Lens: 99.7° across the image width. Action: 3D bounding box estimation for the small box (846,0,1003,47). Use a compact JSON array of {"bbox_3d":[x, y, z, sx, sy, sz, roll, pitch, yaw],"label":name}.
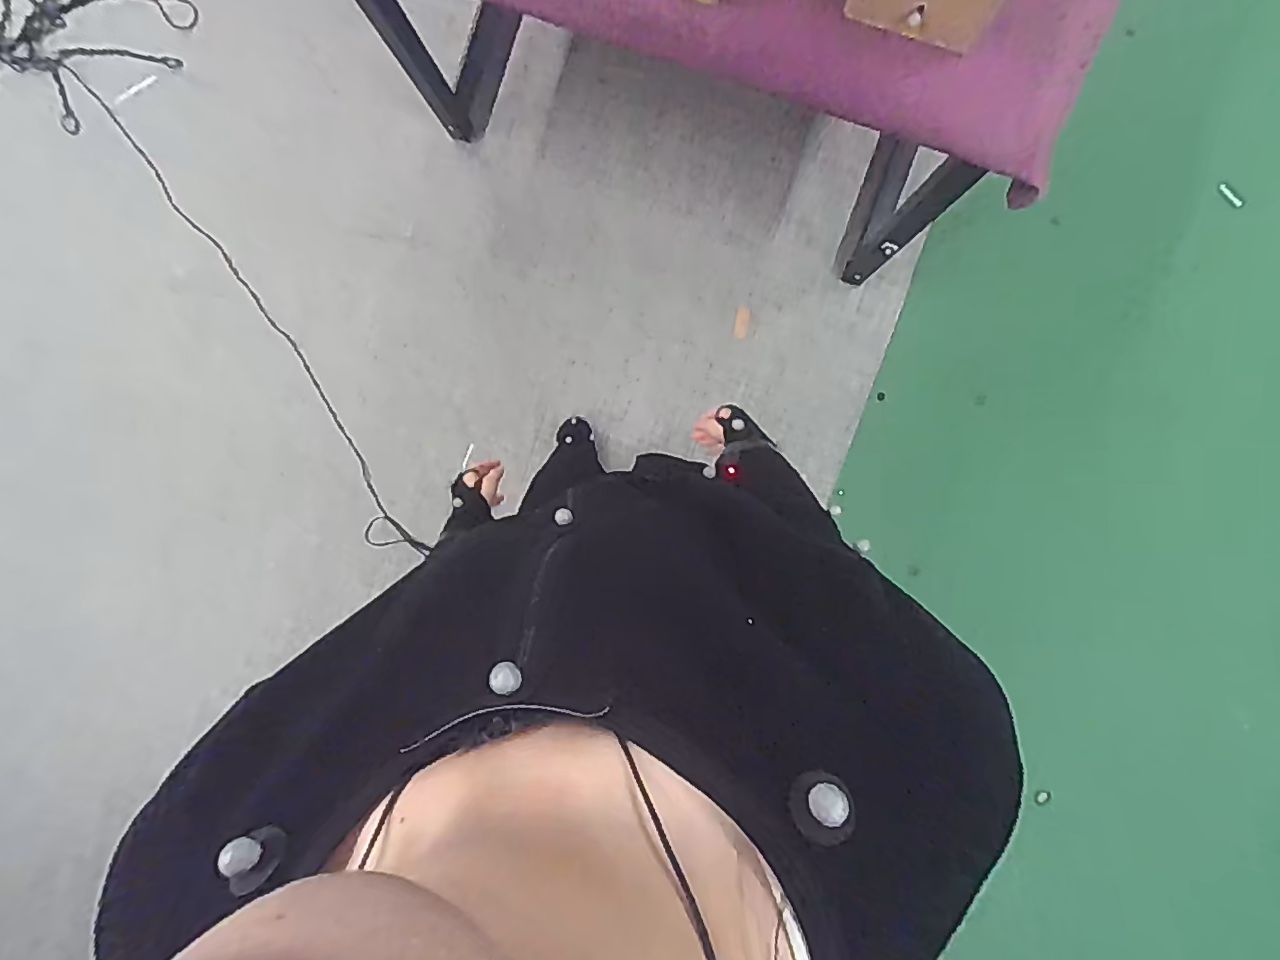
[{"bbox_3d":[0.373,-0.661,0.631,0.179,0.176,0.168,19,92,3],"label":"small box"}]
